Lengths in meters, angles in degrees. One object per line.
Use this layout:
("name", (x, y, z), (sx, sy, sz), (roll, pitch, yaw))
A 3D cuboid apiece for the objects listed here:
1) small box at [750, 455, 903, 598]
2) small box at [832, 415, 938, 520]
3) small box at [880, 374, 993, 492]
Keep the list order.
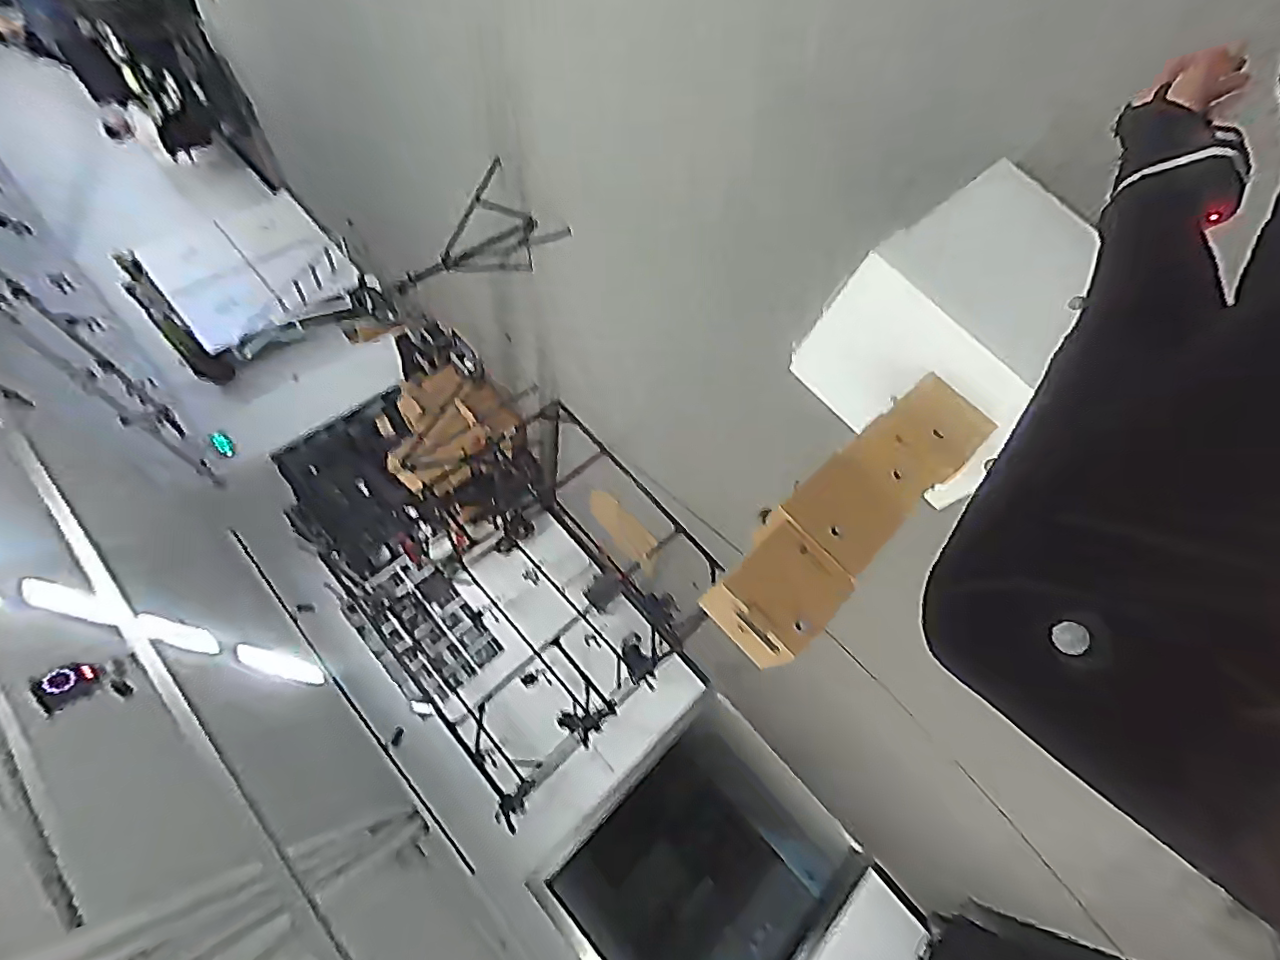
("small box", (0.346, 0.087, 1.009), (0.179, 0.176, 0.168), (46, 156, 12))
("small box", (0.462, 0.001, 1.089), (0.168, 0.176, 0.179), (46, 157, 12))
("small box", (0.589, -0.089, 1.138), (0.179, 0.176, 0.168), (47, 156, 13))
